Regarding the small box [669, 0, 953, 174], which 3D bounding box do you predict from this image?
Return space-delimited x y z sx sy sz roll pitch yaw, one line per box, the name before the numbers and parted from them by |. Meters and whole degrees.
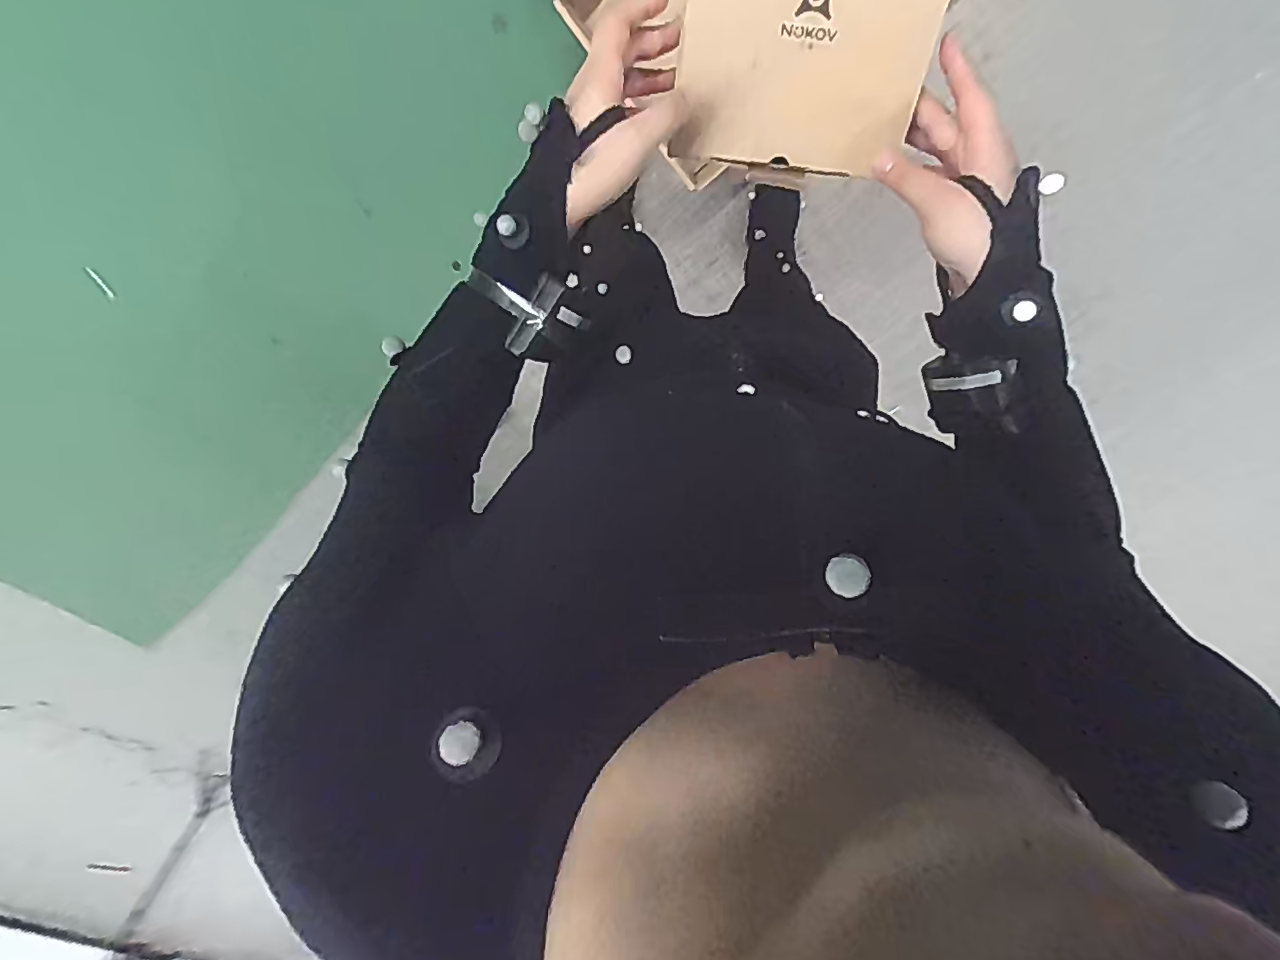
small box | 0.117 -0.348 0.402 0.168 0.176 0.179 8 126 -2
